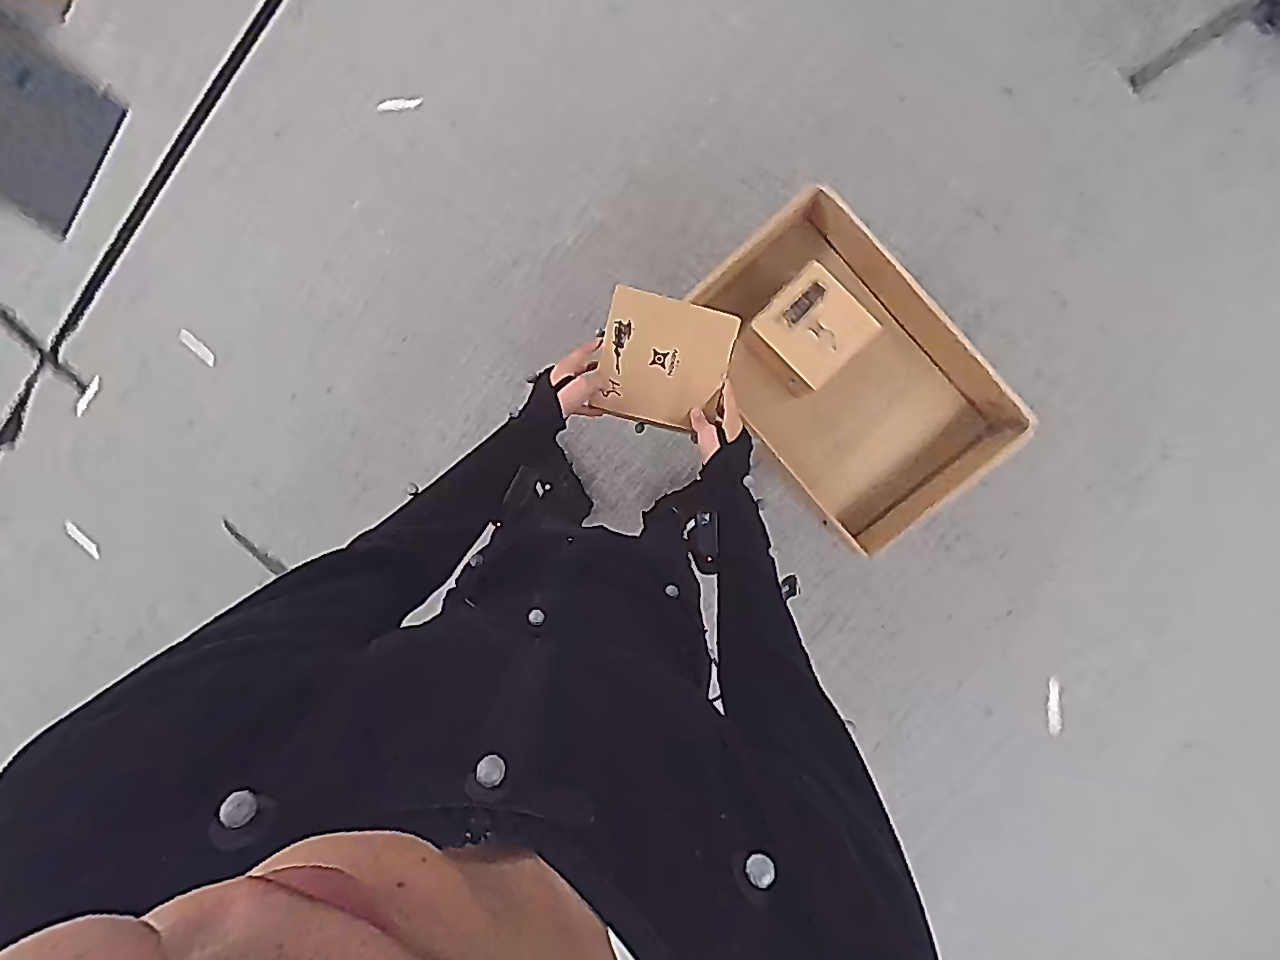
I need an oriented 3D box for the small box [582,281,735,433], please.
[{"bbox_3d":[0.017,-0.172,0.798,0.179,0.176,0.168,13,94,-7],"label":"small box"}]
